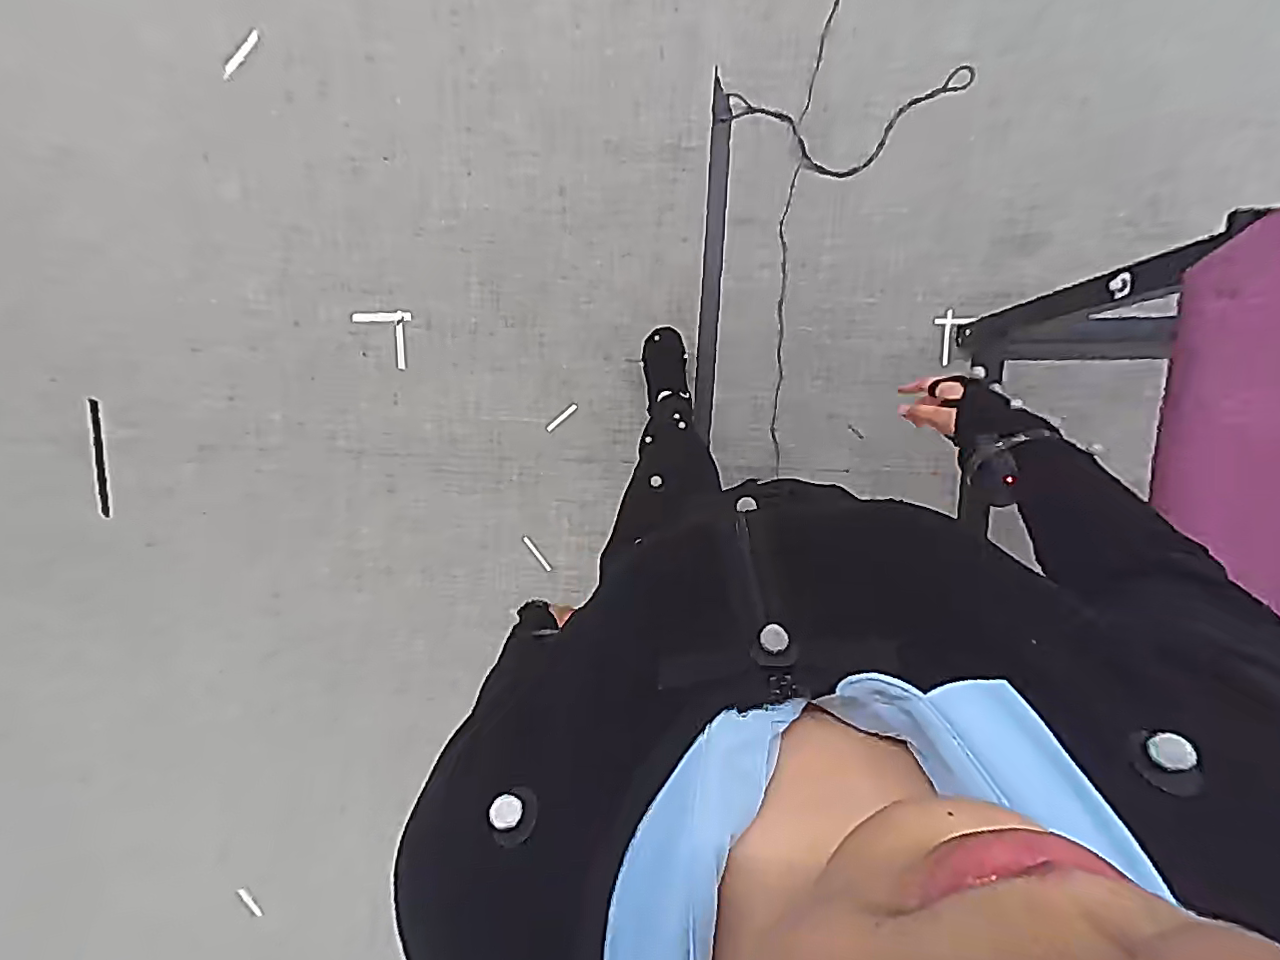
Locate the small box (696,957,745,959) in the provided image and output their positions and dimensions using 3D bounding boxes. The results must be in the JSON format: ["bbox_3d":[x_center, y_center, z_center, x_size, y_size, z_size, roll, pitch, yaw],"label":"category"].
[{"bbox_3d":[0.228,1.489,1.515,0.179,0.176,0.168,-4,97,7],"label":"small box"}]

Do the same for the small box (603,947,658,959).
[{"bbox_3d":[-0.030,1.499,1.546,0.168,0.176,0.179,-2,96,6],"label":"small box"}]
